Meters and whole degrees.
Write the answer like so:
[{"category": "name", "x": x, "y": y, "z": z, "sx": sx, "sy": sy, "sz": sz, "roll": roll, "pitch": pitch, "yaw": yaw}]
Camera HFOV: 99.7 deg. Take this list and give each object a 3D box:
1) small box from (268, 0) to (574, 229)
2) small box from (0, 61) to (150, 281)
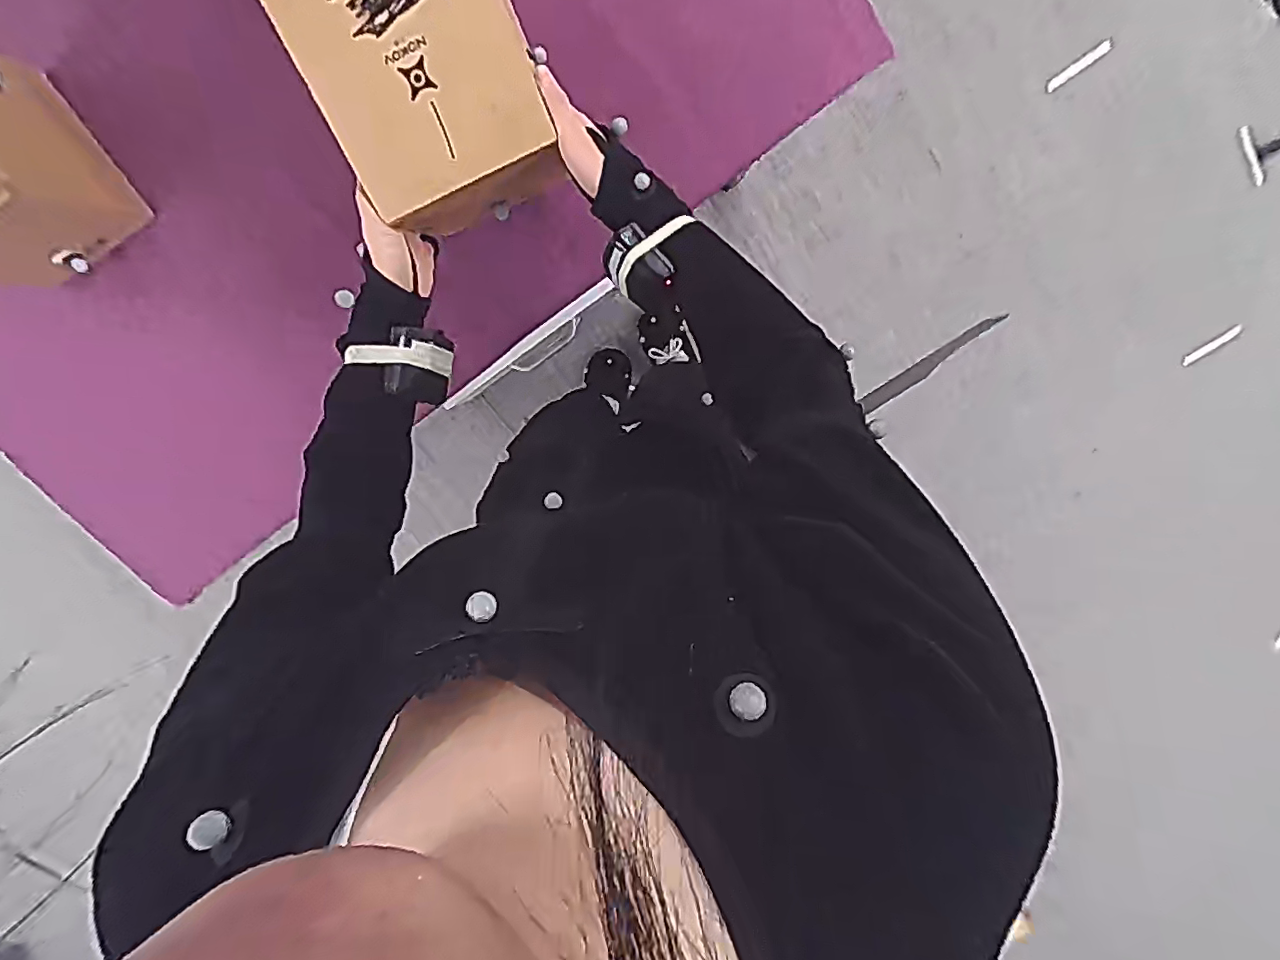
[{"category": "small box", "x": -0.171, "y": -0.346, "z": 0.484, "sx": 0.168, "sy": 0.176, "sz": 0.179, "roll": -21, "pitch": 111, "yaw": 8}, {"category": "small box", "x": -0.695, "y": -0.325, "z": 0.563, "sx": 0.168, "sy": 0.176, "sz": 0.179, "roll": -29, "pitch": 107, "yaw": 9}]
